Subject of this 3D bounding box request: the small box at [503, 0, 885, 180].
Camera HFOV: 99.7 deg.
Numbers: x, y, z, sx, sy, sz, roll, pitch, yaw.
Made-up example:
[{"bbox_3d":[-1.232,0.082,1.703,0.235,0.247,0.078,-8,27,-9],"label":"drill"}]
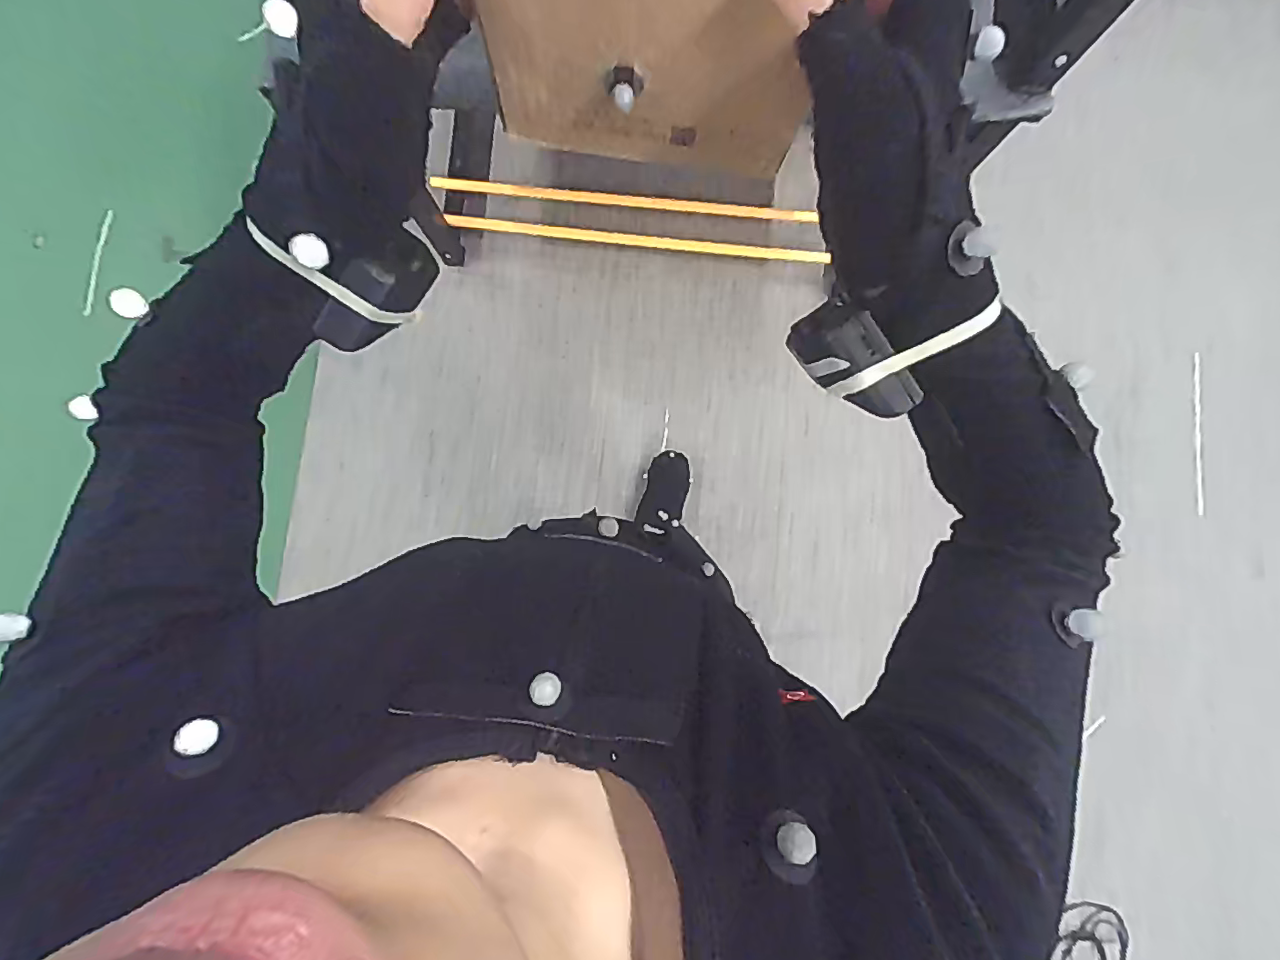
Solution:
[{"bbox_3d":[0.024,-0.283,0.254,0.168,0.176,0.179,6,86,-4],"label":"small box"}]
